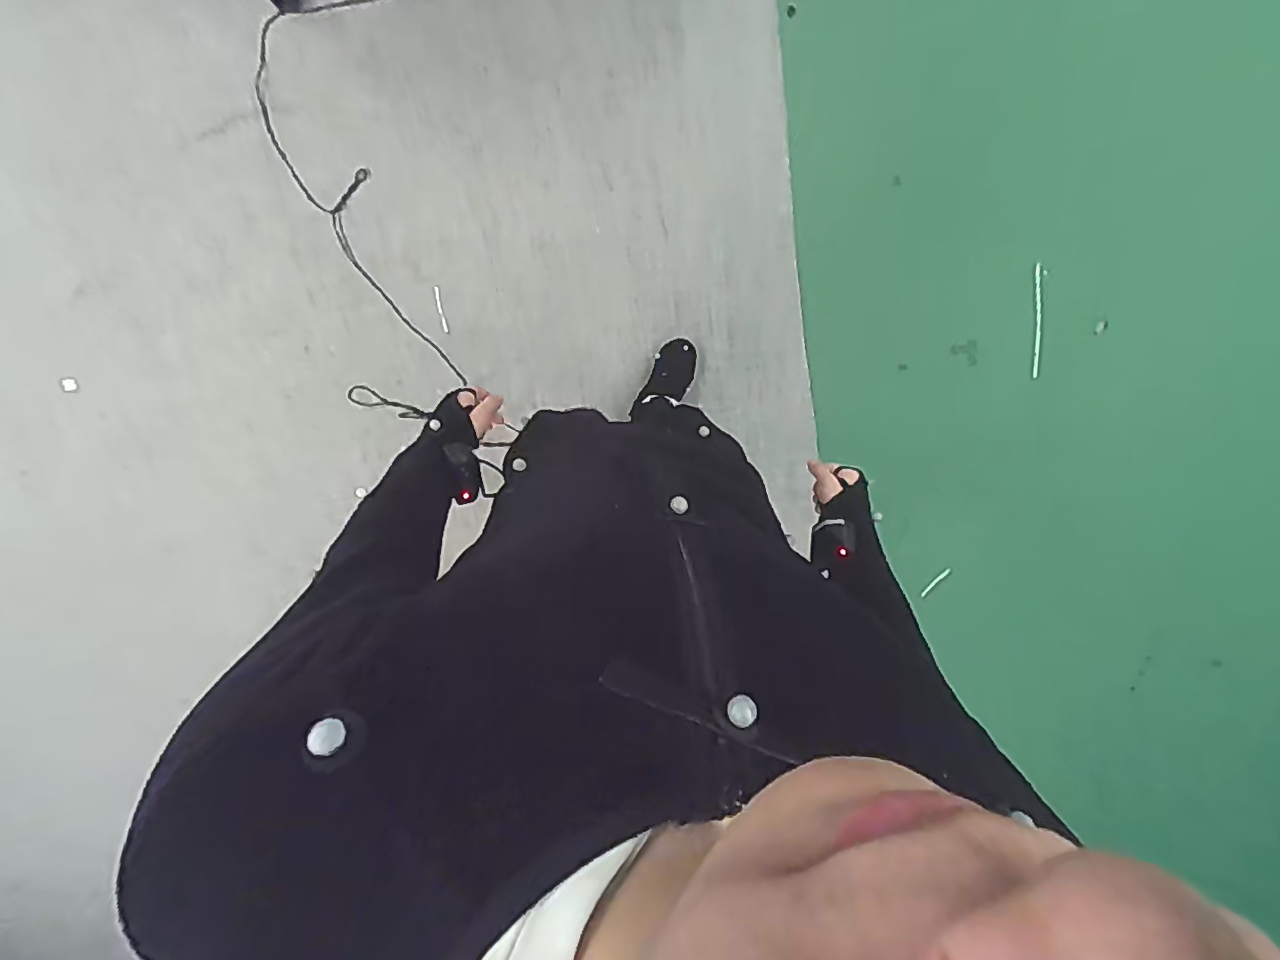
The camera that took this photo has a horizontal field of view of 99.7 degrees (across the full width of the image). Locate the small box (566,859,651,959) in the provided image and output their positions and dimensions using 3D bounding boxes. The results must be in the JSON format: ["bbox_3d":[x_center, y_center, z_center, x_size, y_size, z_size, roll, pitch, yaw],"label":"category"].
[{"bbox_3d":[-0.065,0.967,1.184,0.168,0.176,0.179,-6,103,1],"label":"small box"}]
